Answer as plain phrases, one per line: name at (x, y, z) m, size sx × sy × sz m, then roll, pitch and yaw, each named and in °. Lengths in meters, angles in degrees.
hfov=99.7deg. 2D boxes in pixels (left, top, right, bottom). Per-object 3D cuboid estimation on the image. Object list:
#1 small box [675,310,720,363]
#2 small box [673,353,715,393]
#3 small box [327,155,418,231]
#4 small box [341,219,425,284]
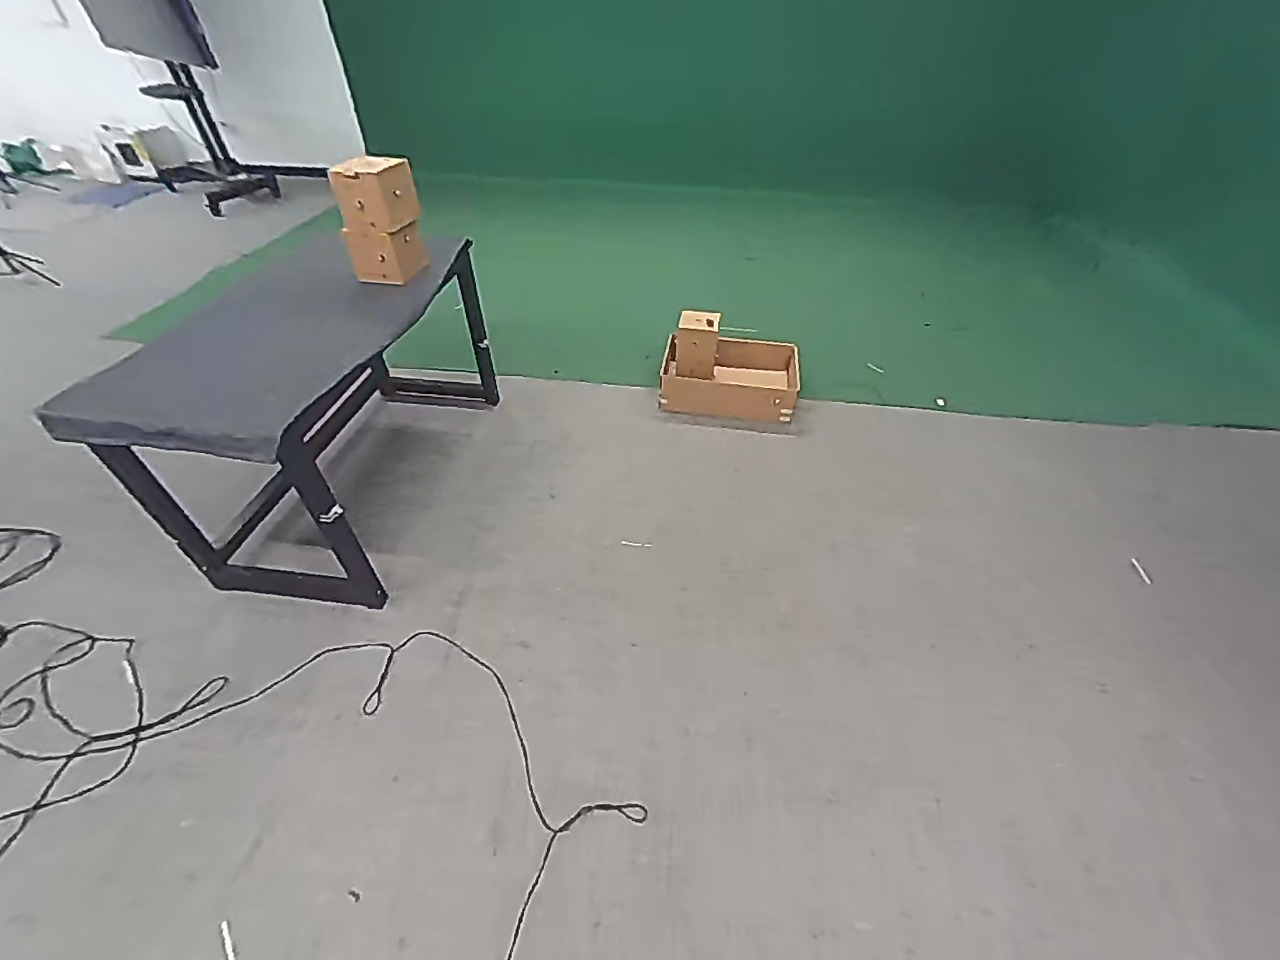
small box at (0.256, -0.638, 2.417) m, size 0.179 × 0.176 × 0.168 m, roll 7°, pitch 44°, yaw 7°
small box at (0.253, -0.523, 2.534) m, size 0.179 × 0.176 × 0.168 m, roll 8°, pitch 45°, yaw 5°
small box at (-0.819, -0.890, 1.680) m, size 0.168 × 0.176 × 0.179 m, roll 10°, pitch 45°, yaw 10°
small box at (-0.838, -0.765, 1.786) m, size 0.168 × 0.176 × 0.179 m, roll 8°, pitch 43°, yaw 8°
